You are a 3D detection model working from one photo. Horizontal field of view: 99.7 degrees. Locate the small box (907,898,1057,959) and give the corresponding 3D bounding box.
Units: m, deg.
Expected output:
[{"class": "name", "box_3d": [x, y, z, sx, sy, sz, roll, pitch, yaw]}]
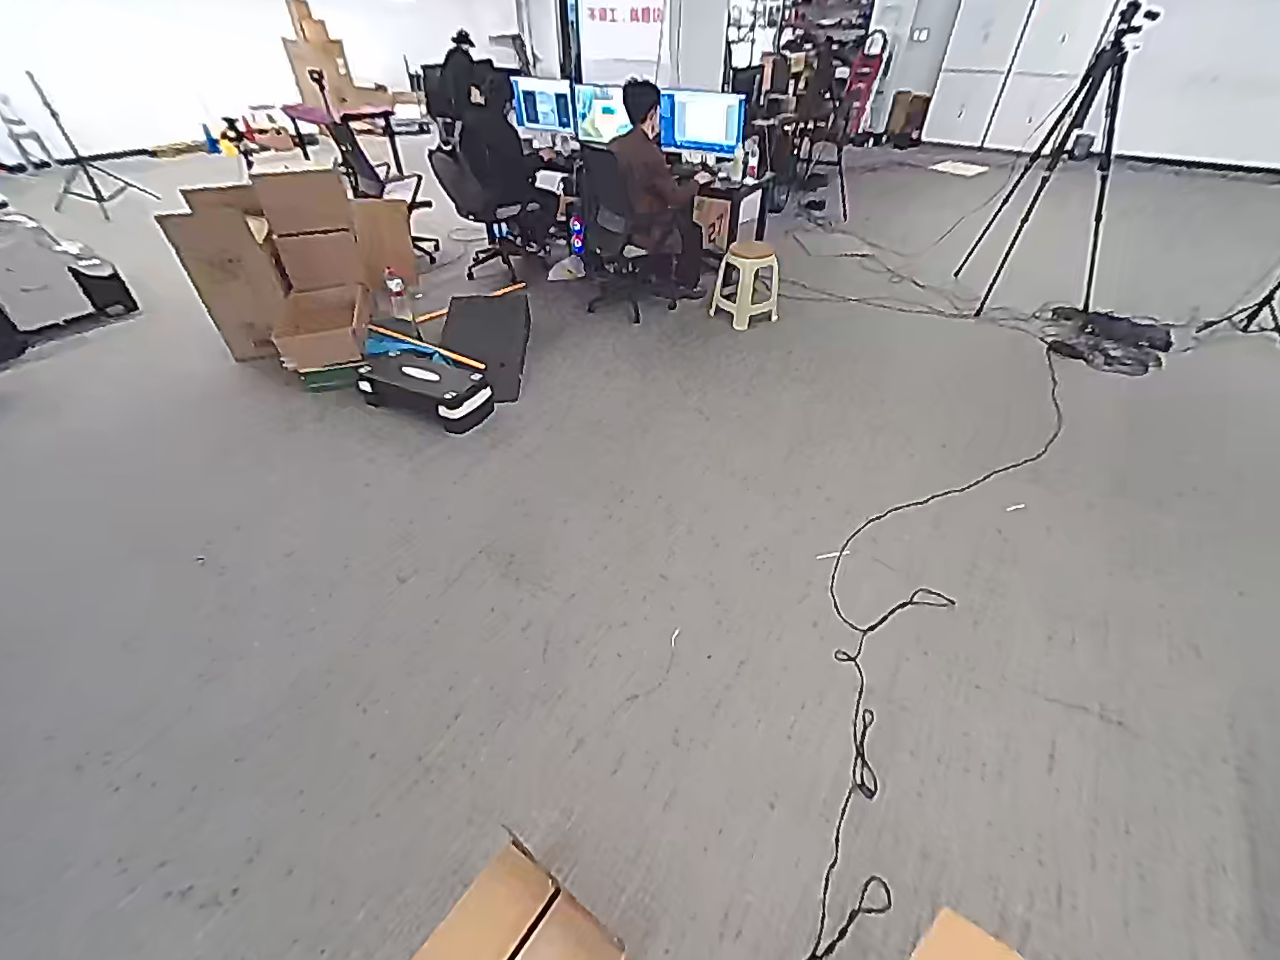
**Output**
[{"class": "small box", "box_3d": [0.373, 0.599, 0.546, 0.168, 0.176, 0.179, -10, 9, -35]}]
